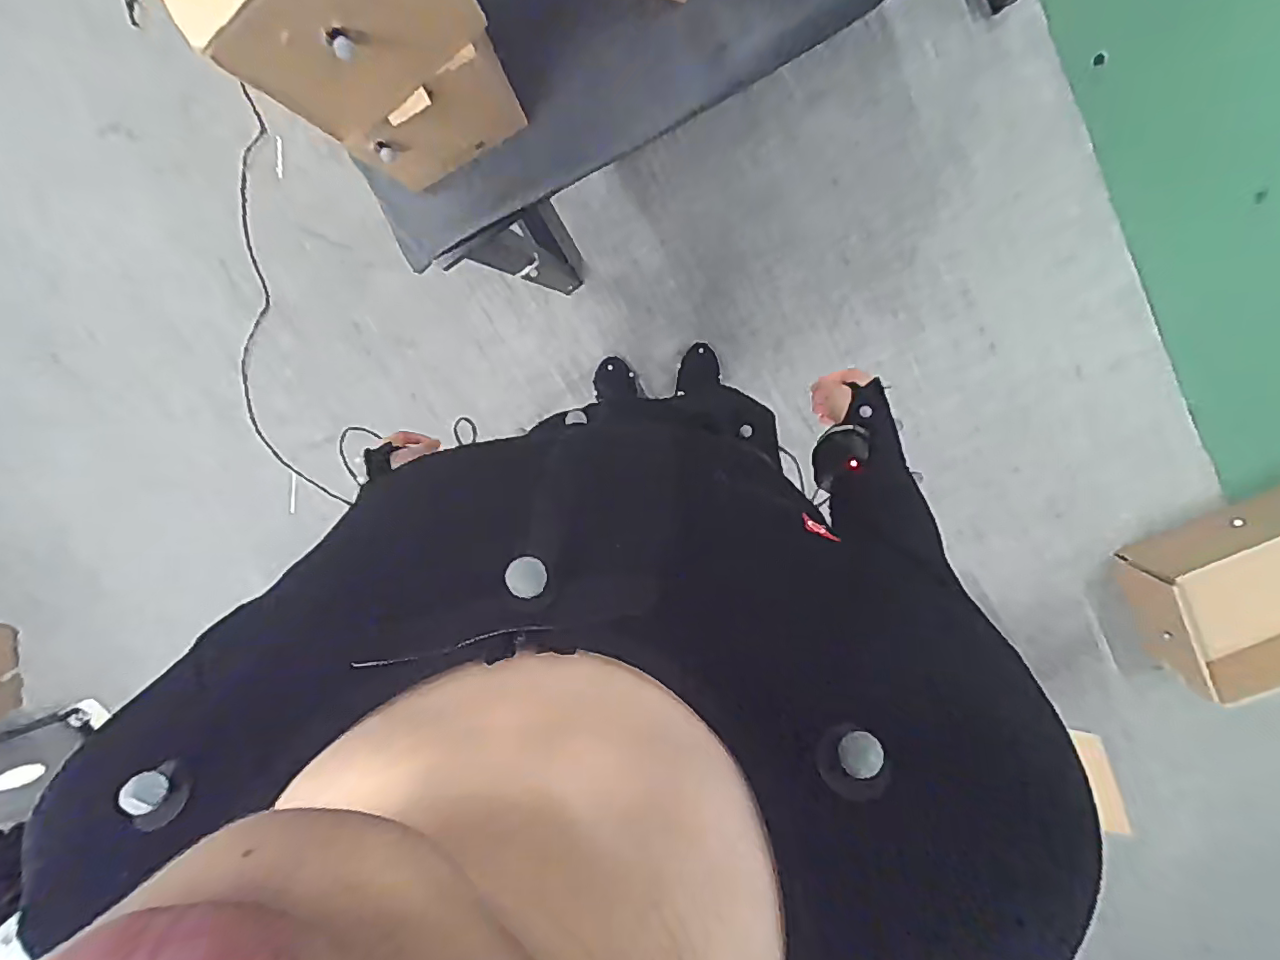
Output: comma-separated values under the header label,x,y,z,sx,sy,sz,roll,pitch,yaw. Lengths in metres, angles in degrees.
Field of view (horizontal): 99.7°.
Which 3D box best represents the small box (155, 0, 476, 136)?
label,x,y,z,sx,sy,sz,roll,pitch,yaw
small box,-0.259,-0.408,0.407,0.179,0.176,0.168,-33,99,12
